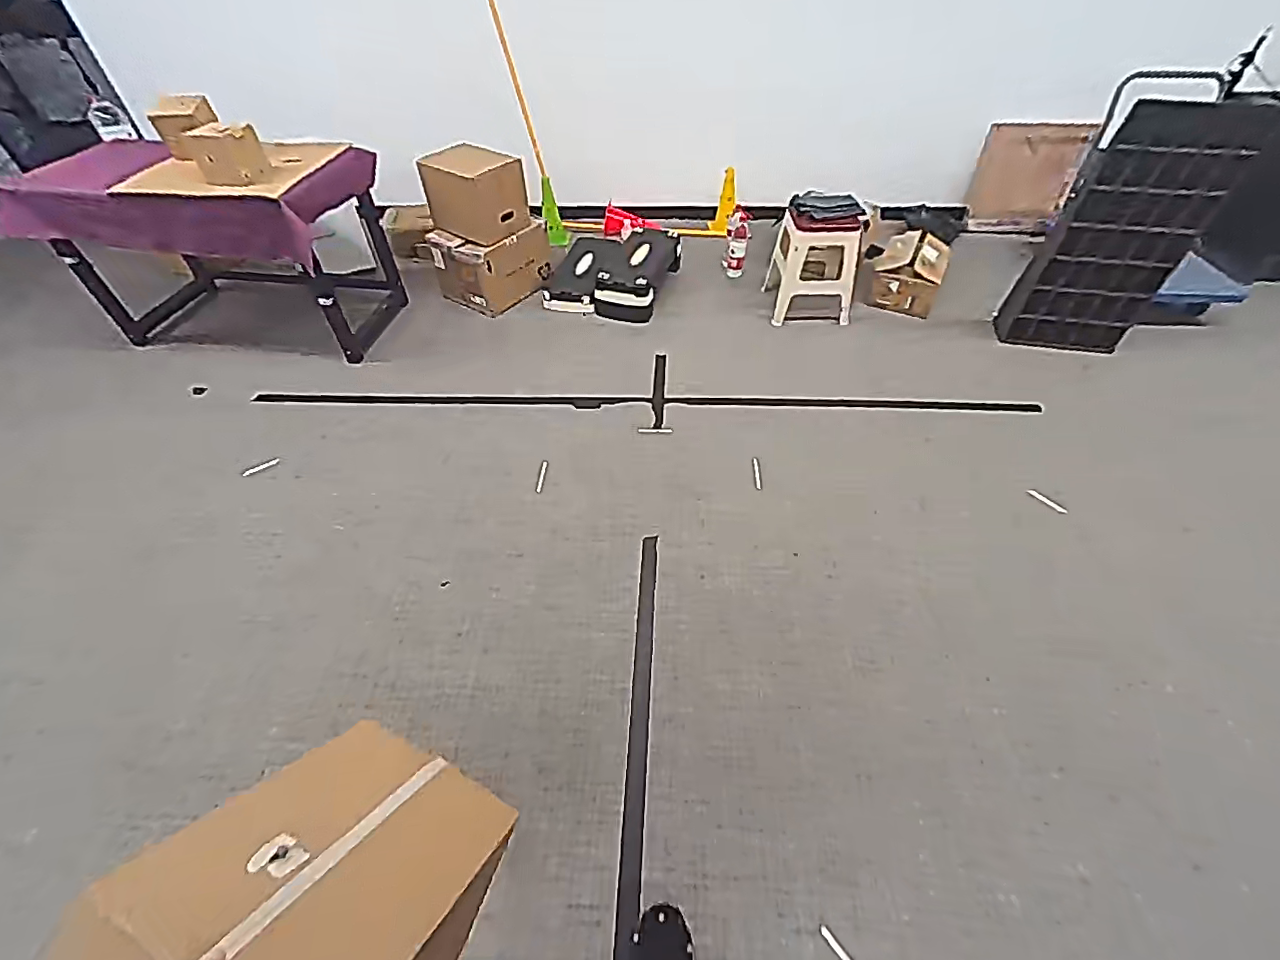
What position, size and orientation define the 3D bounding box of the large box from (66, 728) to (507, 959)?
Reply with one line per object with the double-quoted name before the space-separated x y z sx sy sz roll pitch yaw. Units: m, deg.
"large box" -0.449 0.627 0.729 0.320 0.408 0.320 23 96 13
